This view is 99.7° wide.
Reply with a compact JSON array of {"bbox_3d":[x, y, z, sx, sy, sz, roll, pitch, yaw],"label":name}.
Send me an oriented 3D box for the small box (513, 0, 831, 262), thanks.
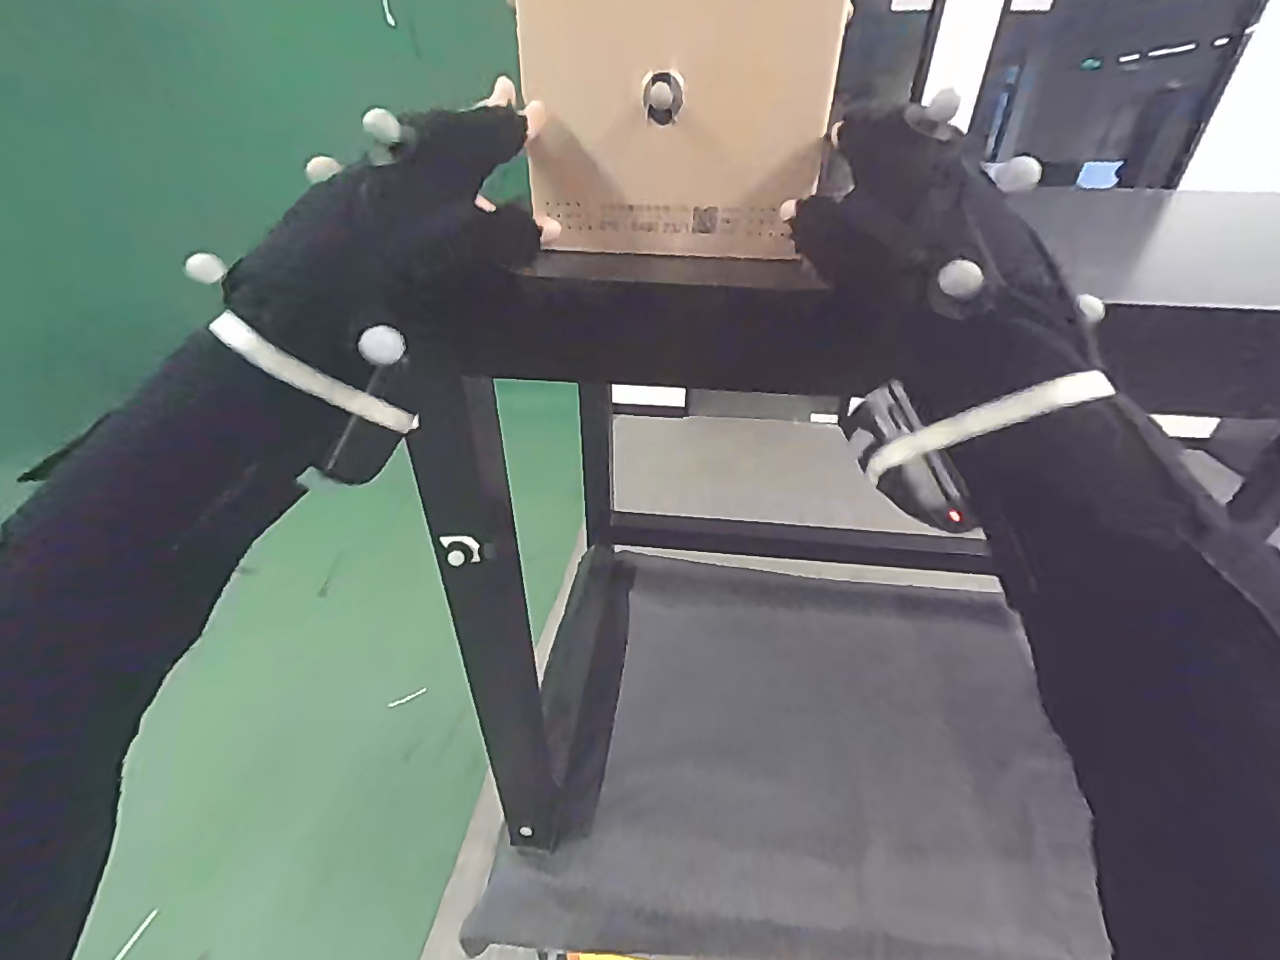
[{"bbox_3d":[0.025,-0.250,0.360,0.168,0.176,0.179,5,33,5],"label":"small box"}]
